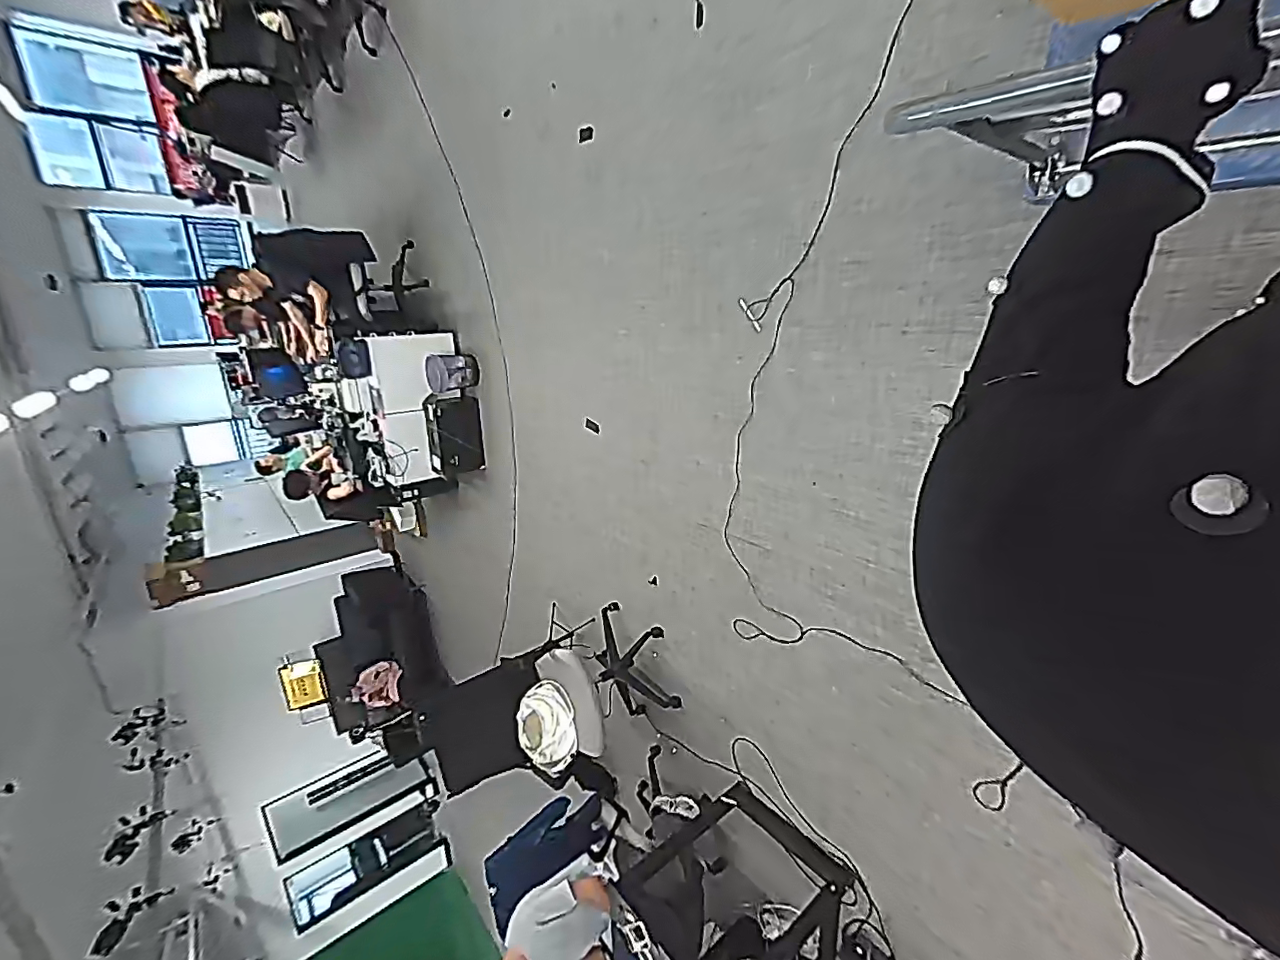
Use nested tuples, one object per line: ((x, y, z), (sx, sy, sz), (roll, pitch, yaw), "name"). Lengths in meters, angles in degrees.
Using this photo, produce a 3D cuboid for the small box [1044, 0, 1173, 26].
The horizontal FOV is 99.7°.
((0.754, -0.845, 0.837), (0.179, 0.176, 0.168), (25, 121, 43), "small box")
